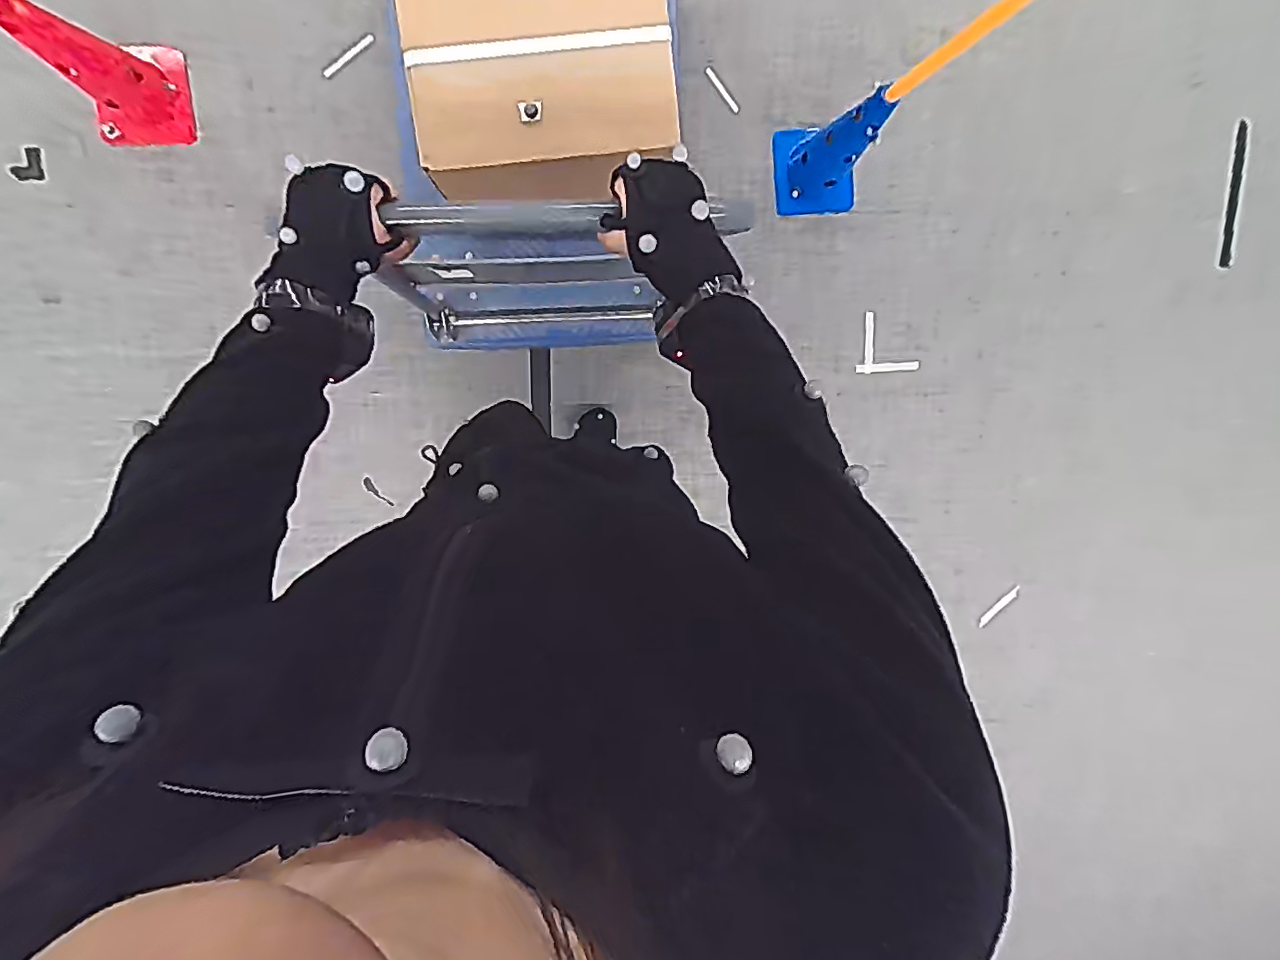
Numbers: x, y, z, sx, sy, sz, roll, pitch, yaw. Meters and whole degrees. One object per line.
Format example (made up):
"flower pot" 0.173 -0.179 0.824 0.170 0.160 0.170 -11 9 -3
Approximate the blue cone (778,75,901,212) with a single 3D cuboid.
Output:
"blue cone" 0.452 -0.744 1.180 0.193 0.380 0.192 -5 99 -4
